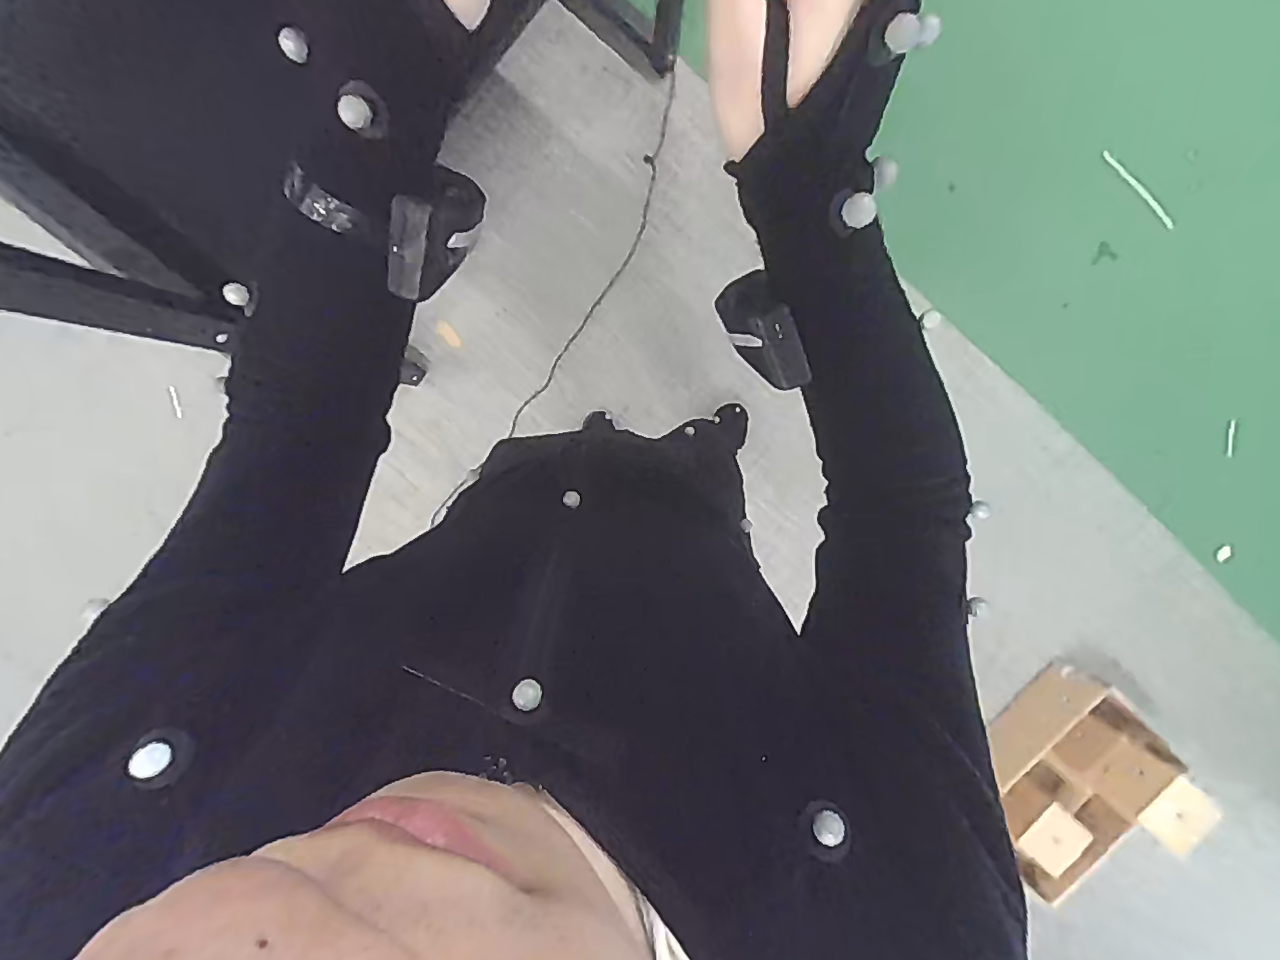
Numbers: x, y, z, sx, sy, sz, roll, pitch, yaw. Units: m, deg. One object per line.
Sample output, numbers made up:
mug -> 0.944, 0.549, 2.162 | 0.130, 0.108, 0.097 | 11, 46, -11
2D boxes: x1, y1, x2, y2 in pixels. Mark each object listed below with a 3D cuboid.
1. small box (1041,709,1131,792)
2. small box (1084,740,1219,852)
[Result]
small box -> 1.381, 0.829, 1.639 | 0.179, 0.176, 0.168 | 42, 94, -6
small box -> 1.385, 0.849, 1.478 | 0.179, 0.176, 0.168 | 41, 93, -6
